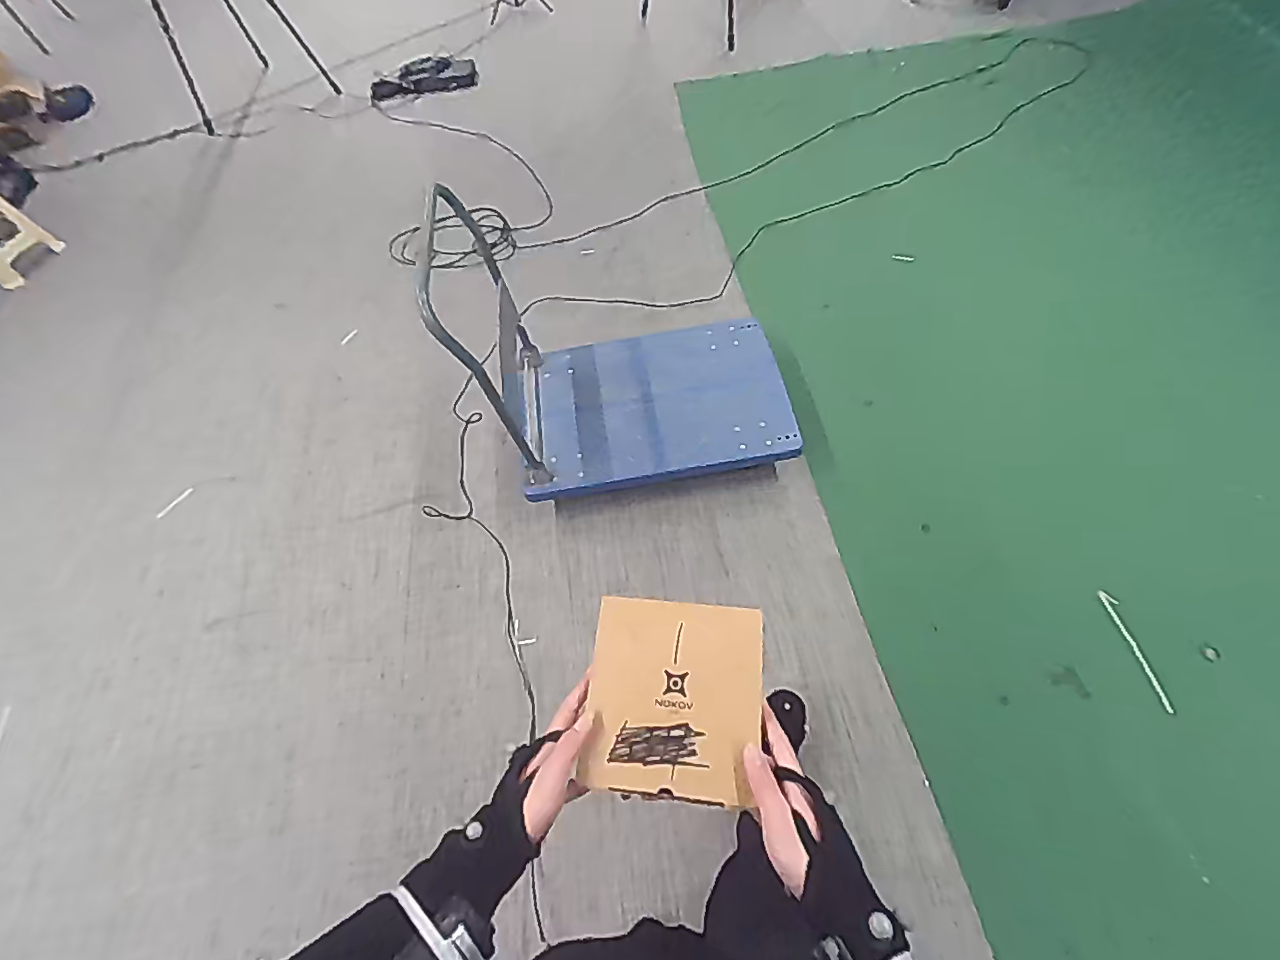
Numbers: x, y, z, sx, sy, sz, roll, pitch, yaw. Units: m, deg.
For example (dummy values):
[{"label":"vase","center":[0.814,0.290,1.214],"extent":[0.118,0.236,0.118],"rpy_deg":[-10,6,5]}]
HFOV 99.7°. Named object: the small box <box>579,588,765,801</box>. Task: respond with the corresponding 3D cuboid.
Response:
[{"label":"small box","center":[0.042,0.230,0.583],"extent":[0.168,0.176,0.179],"rpy_deg":[4,63,7]}]
